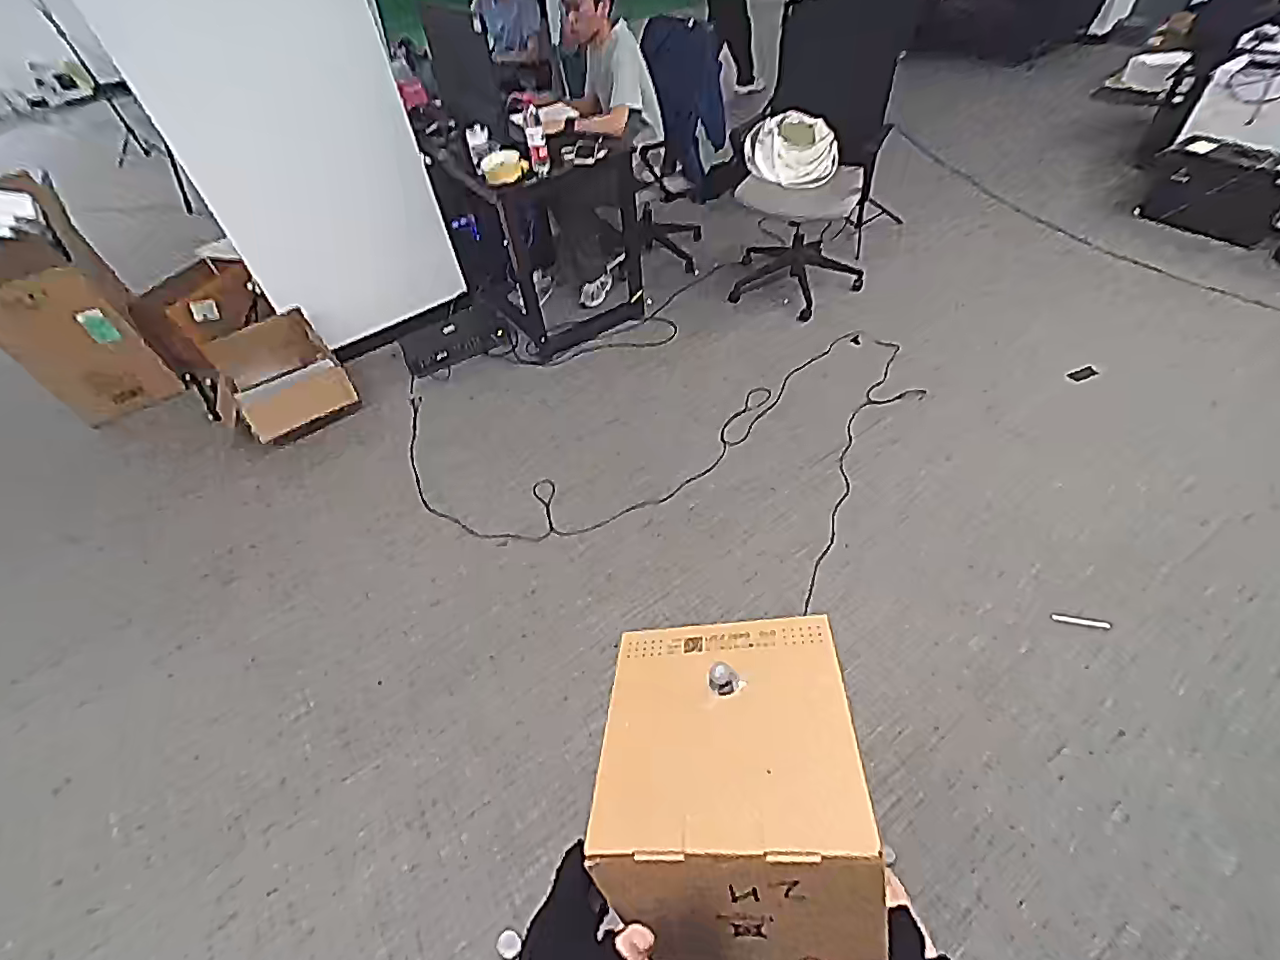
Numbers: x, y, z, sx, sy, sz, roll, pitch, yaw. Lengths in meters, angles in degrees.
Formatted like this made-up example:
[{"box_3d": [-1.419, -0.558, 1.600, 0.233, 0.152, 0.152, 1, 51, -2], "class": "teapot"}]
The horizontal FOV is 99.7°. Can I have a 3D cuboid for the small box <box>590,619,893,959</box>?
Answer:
[{"box_3d": [0.079, 0.227, 0.399, 0.168, 0.179, 0.176, -9, 33, 14], "class": "small box"}]
